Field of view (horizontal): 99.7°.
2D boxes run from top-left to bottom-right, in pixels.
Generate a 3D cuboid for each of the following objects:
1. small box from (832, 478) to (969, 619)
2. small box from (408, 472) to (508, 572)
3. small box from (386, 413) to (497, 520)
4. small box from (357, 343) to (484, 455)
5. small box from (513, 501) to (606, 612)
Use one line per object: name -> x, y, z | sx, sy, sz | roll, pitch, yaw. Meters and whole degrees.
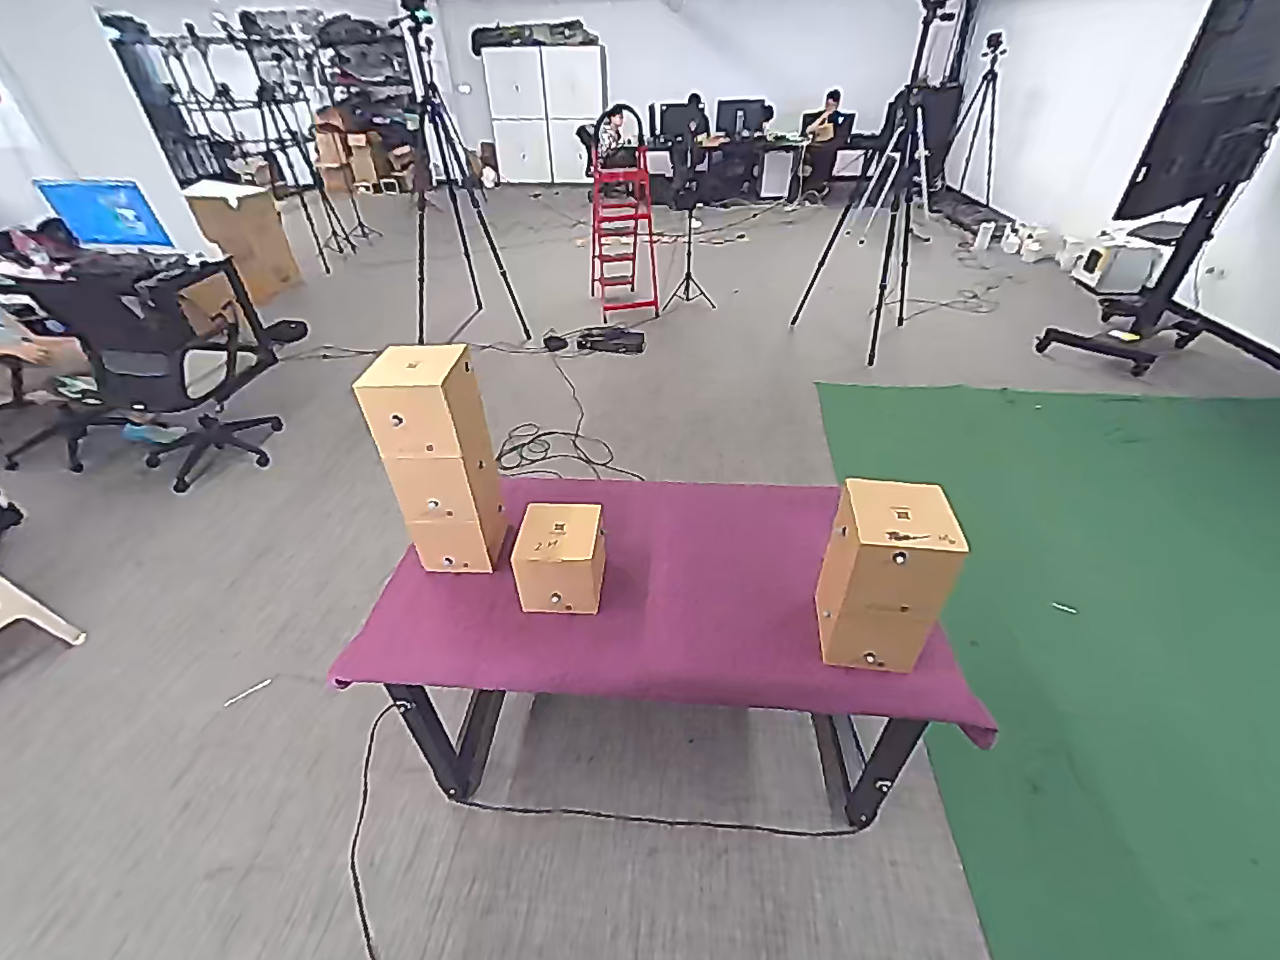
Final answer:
small box -> 0.446, 0.119, 0.962 | 0.168, 0.176, 0.179 | 4, 37, 9
small box -> -0.421, 0.096, 1.289 | 0.168, 0.176, 0.179 | 0, 39, 3
small box -> -0.423, -0.033, 1.190 | 0.168, 0.176, 0.179 | 0, 39, 3
small box -> -0.428, -0.161, 1.090 | 0.168, 0.176, 0.179 | -1, 38, 3
small box -> -0.168, 0.167, 1.191 | 0.168, 0.176, 0.179 | 1, 38, 4
